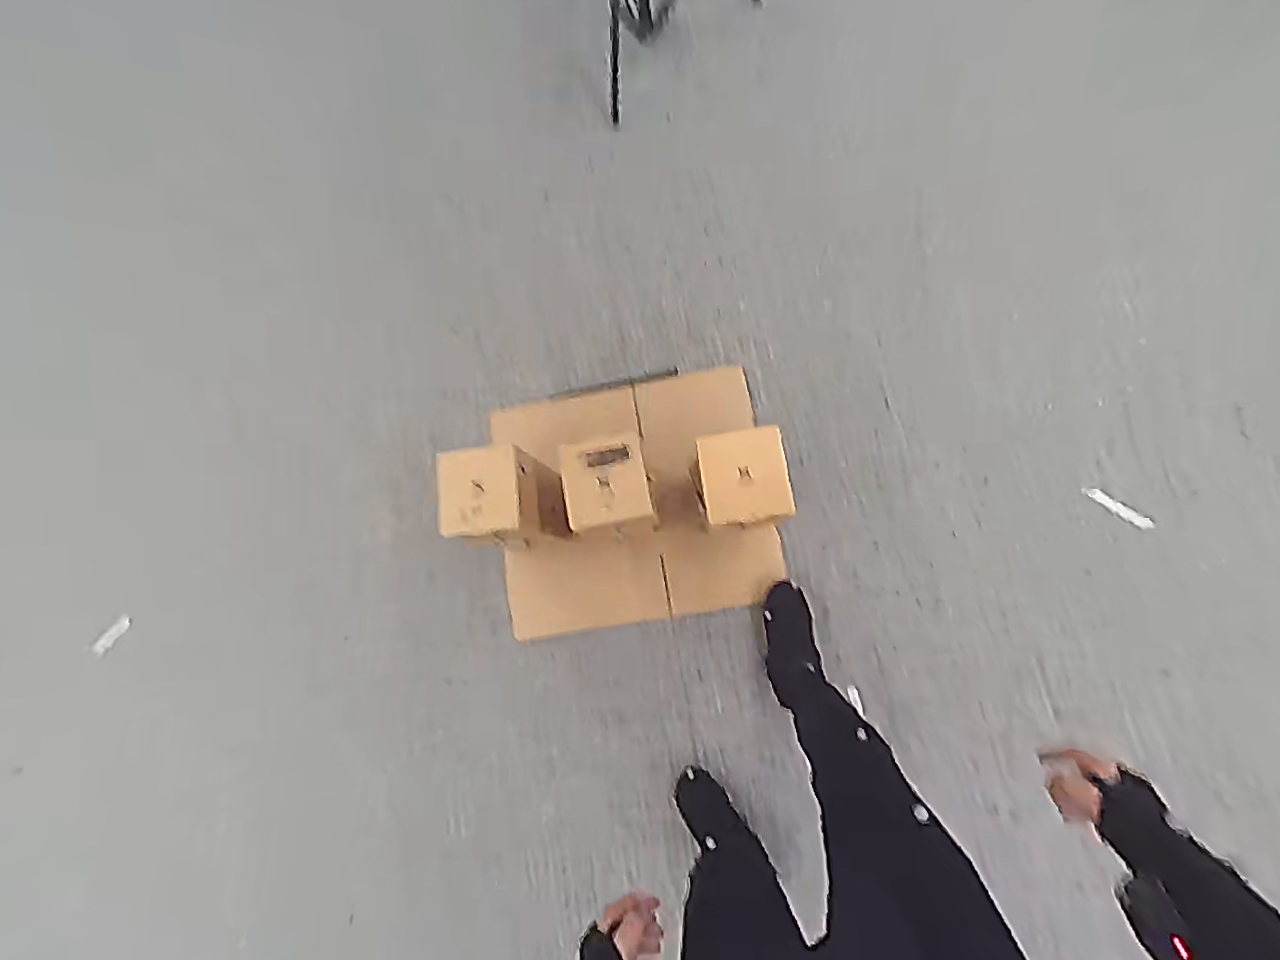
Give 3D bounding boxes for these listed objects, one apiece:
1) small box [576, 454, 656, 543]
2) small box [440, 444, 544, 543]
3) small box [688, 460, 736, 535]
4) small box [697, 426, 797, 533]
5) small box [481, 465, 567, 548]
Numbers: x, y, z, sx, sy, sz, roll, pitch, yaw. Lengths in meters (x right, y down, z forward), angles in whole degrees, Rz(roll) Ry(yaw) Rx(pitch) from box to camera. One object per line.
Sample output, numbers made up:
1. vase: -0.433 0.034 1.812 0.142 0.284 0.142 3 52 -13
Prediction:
1. small box: -0.054 0.050 1.299 0.168 0.176 0.179 -7 78 5
2. small box: -0.313 0.035 1.163 0.168 0.176 0.179 -8 79 6
3. small box: 0.223 0.024 1.271 0.179 0.176 0.168 -19 78 2
4. small box: 0.210 0.005 1.110 0.168 0.176 0.179 -9 79 4
5. small box: -0.283 0.072 1.321 0.168 0.176 0.179 -8 79 6
